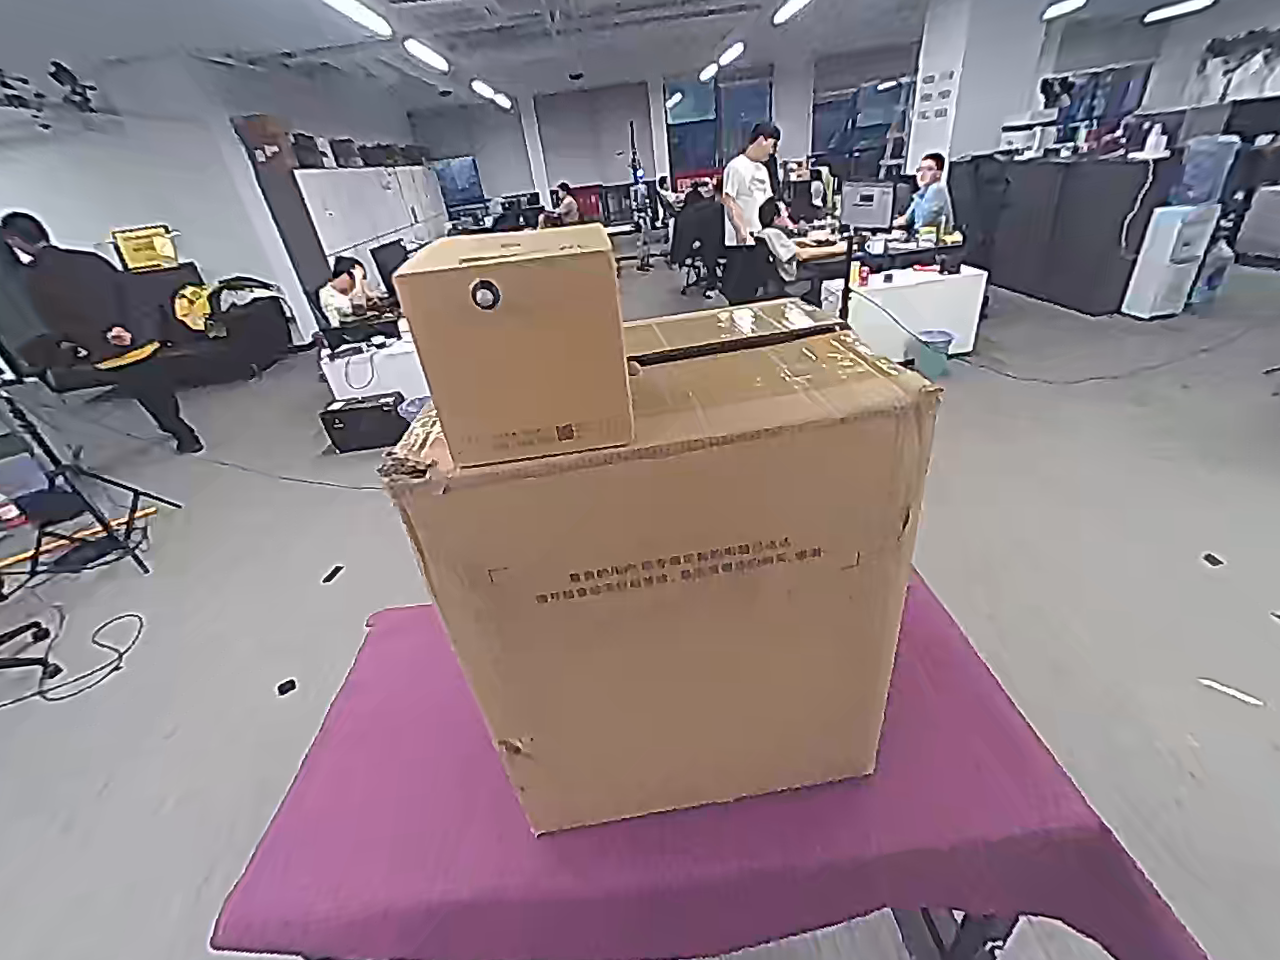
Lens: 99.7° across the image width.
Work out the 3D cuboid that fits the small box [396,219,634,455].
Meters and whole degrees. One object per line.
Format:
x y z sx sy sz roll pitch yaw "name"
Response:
-0.100 -0.140 0.510 0.168 0.176 0.179 -8 31 -2 "small box"
